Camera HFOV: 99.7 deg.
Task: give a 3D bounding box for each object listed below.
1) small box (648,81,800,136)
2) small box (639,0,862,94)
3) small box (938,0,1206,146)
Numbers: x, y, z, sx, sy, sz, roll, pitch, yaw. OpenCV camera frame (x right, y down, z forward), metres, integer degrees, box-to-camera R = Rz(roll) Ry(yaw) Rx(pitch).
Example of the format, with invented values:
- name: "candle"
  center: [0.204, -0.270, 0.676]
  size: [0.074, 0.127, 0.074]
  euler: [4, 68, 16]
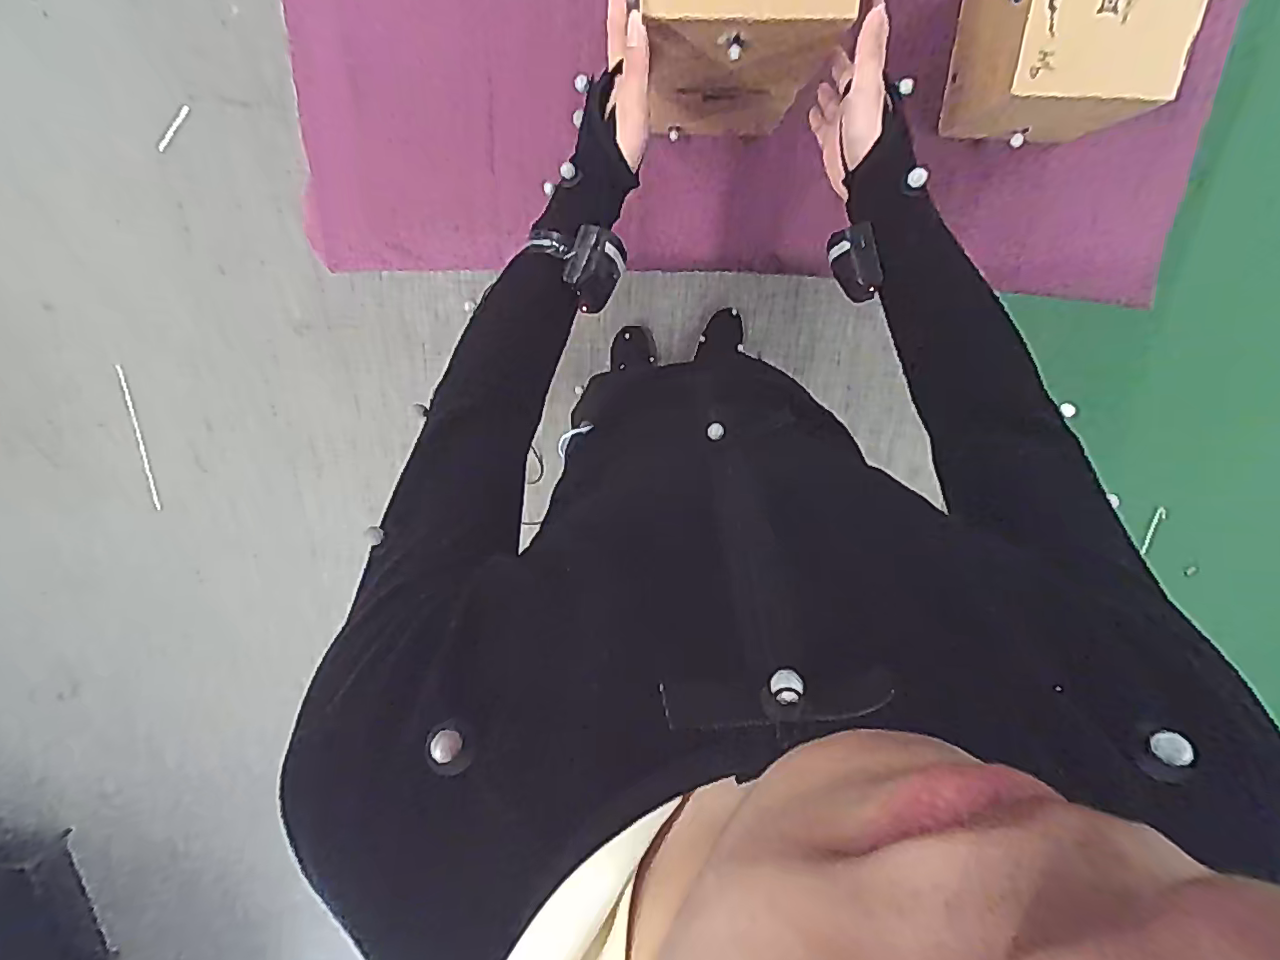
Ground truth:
- name: "small box"
  center: [0.097, -0.521, 0.632]
  size: [0.168, 0.176, 0.179]
  euler: [2, 108, 1]
- name: "small box"
  center: [0.092, -0.465, 0.478]
  size: [0.179, 0.176, 0.168]
  euler: [2, 110, 1]
- name: "small box"
  center: [0.487, -0.503, 0.625]
  size: [0.179, 0.176, 0.168]
  euler: [3, 109, 1]
